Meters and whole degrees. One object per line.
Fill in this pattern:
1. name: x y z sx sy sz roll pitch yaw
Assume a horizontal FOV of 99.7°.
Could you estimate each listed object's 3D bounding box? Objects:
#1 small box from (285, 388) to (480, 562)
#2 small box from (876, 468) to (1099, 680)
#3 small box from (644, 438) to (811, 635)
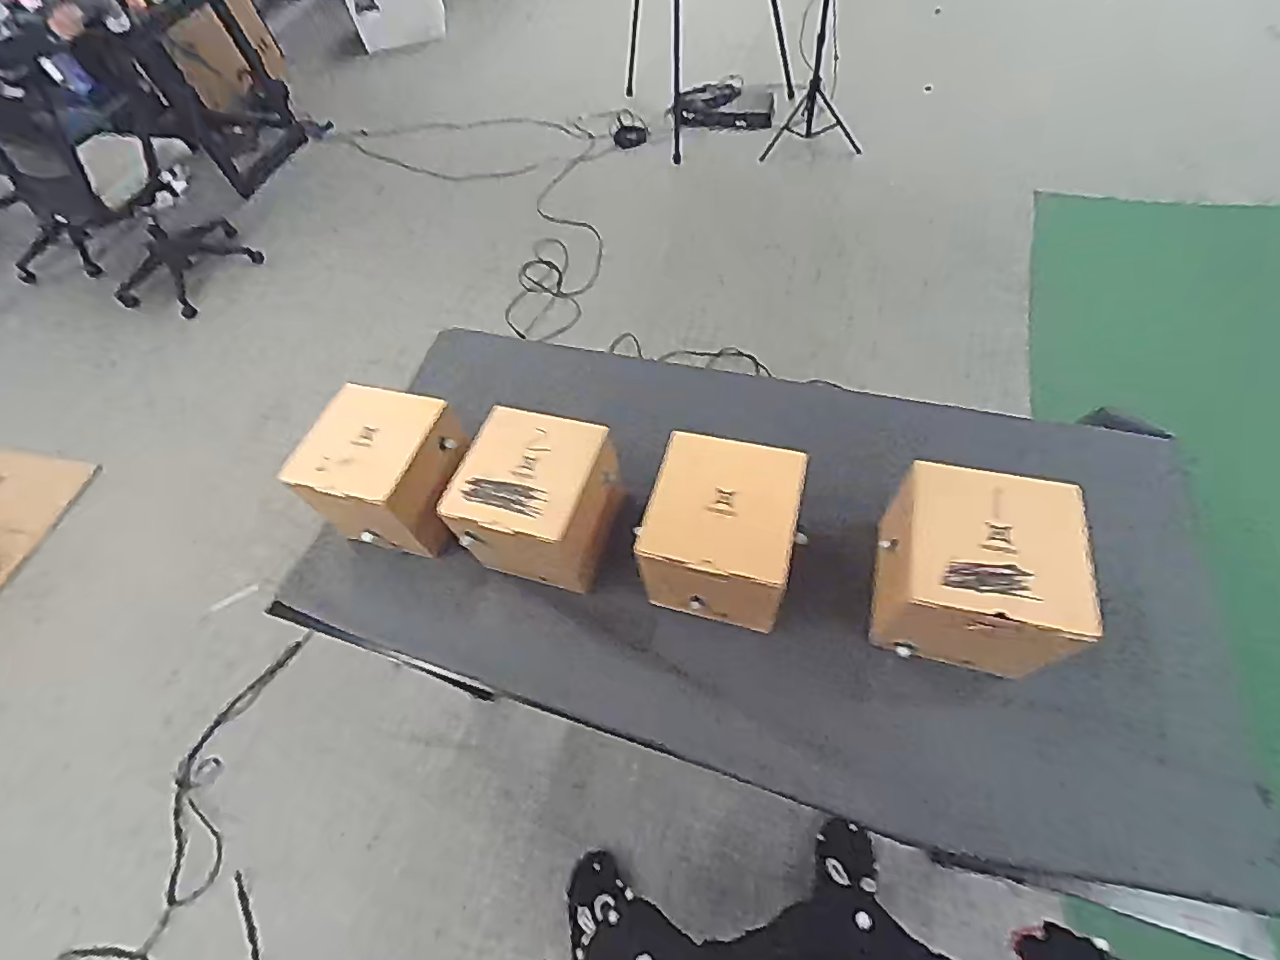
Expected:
1. small box: -0.358 -0.005 0.798 0.168 0.176 0.179 11 59 13
2. small box: 0.384 0.115 0.630 0.168 0.176 0.179 11 59 14
3. small box: 0.111 0.075 0.694 0.168 0.176 0.179 11 61 14
